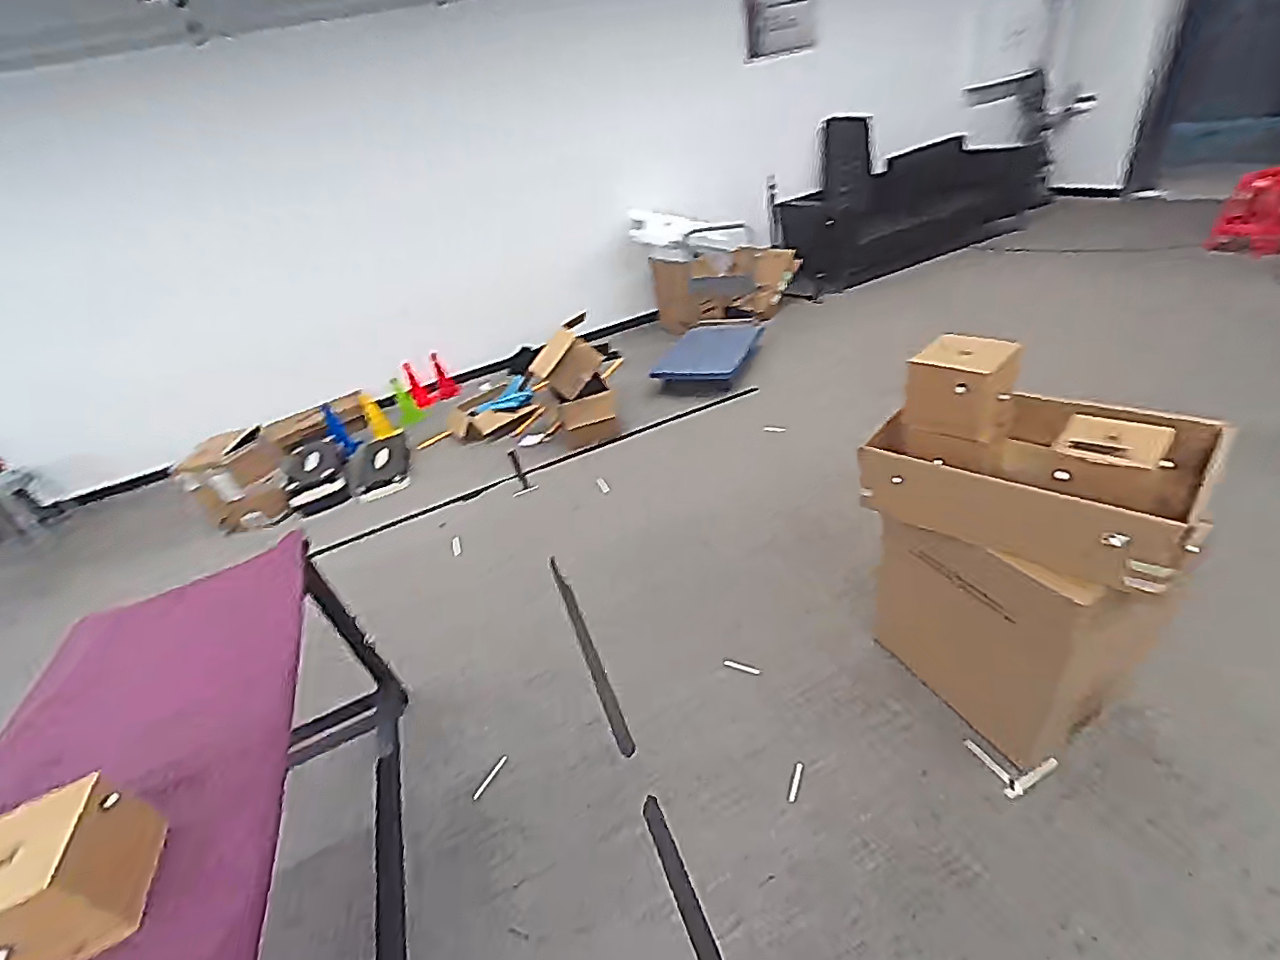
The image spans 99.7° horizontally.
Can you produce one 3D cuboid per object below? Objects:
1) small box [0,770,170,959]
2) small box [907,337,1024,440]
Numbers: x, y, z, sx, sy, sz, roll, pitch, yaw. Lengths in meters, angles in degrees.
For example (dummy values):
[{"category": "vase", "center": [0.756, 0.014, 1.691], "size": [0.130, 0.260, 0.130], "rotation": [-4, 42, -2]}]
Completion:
[{"category": "small box", "center": [-0.847, 0.580, 0.792], "size": [0.168, 0.176, 0.179], "rotation": [-23, 33, -15]}, {"category": "small box", "center": [0.747, -0.212, 1.255], "size": [0.168, 0.176, 0.179], "rotation": [-32, 37, -26]}]
